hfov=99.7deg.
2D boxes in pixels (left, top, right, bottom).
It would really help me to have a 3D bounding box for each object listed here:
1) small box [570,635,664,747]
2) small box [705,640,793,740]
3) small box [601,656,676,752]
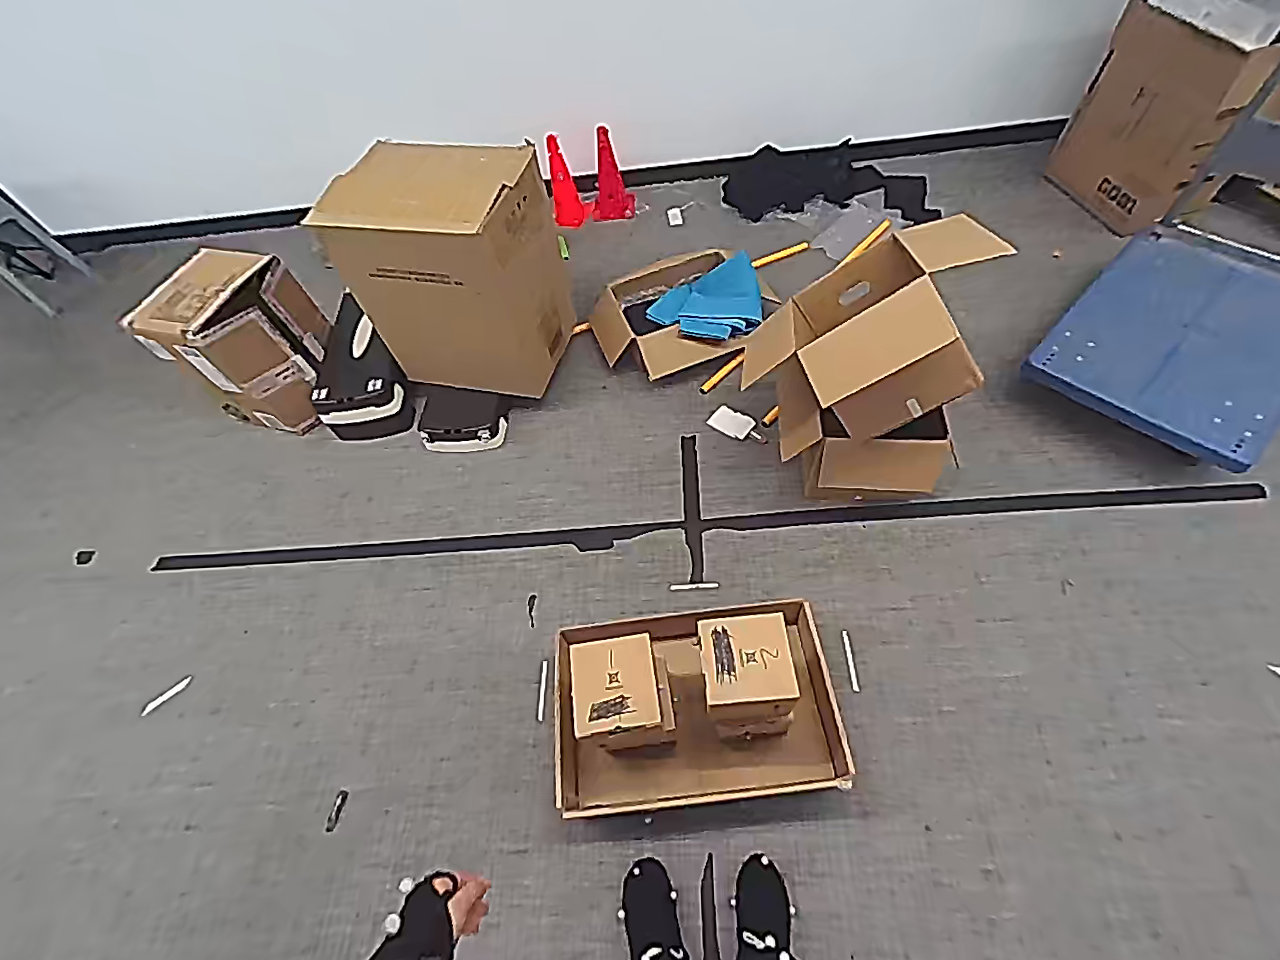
[{"bbox_3d":[-0.046,0.441,1.116,0.168,0.176,0.179,-9,55,0],"label":"small box"},{"bbox_3d":[0.243,0.489,1.250,0.168,0.176,0.179,-8,57,3],"label":"small box"},{"bbox_3d":[-0.014,0.523,1.257,0.179,0.176,0.168,-9,56,0],"label":"small box"}]
